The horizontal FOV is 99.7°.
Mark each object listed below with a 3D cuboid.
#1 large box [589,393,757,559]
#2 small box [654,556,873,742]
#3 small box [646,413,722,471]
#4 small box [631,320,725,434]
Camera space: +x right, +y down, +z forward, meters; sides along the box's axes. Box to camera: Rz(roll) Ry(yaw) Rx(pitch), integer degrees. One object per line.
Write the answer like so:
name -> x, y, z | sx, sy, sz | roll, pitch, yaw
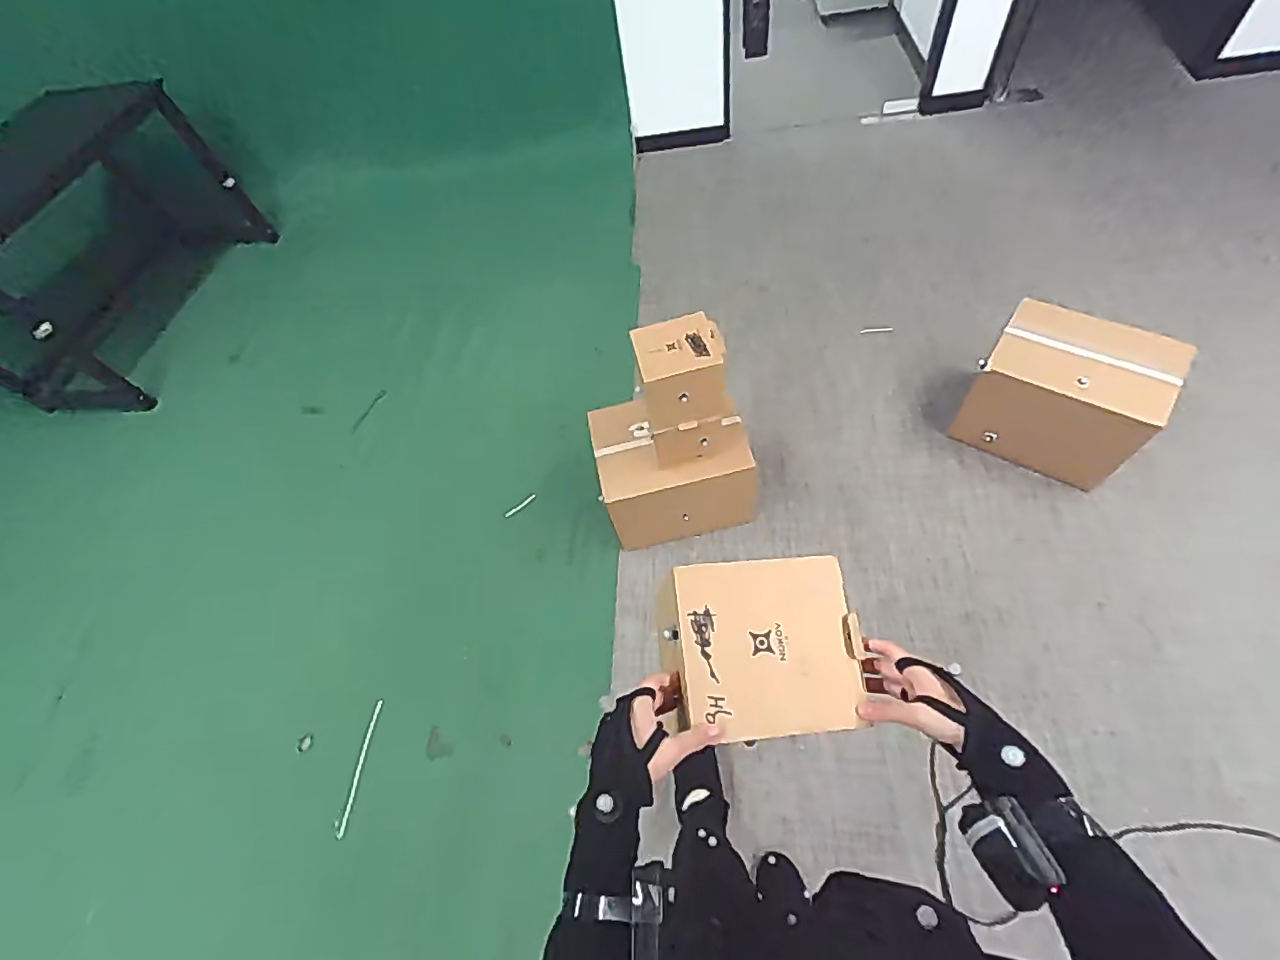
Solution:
large box -> 0.101, -0.009, 1.580 | 0.408, 0.320, 0.320 | -15, 55, 2
small box -> 0.117, 0.185, 0.591 | 0.179, 0.176, 0.168 | -2, 67, -7
small box -> 0.108, -0.139, 1.368 | 0.168, 0.176, 0.179 | -13, 56, 1
small box -> 0.088, -0.230, 1.233 | 0.179, 0.176, 0.168 | -15, 56, 0
